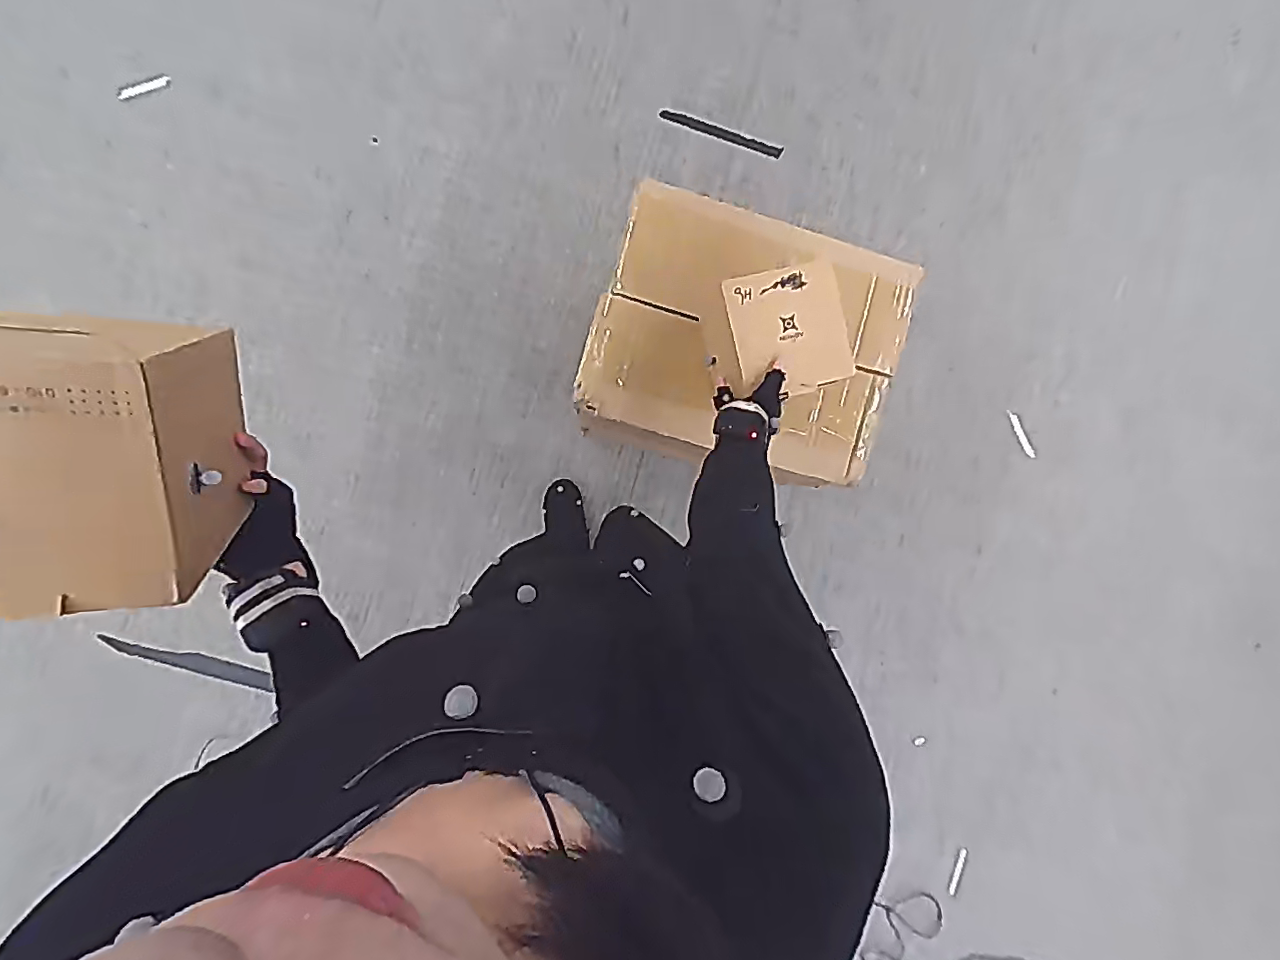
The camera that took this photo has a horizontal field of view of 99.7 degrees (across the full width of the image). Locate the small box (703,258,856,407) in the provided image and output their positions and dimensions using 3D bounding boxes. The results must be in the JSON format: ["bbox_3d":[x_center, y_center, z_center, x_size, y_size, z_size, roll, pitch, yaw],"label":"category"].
[{"bbox_3d":[0.206,-0.215,0.837,0.168,0.176,0.179,-13,93,-4],"label":"small box"}]

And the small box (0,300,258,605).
[{"bbox_3d":[-0.397,-0.030,0.380,0.168,0.179,0.176,1,111,-21],"label":"small box"}]
